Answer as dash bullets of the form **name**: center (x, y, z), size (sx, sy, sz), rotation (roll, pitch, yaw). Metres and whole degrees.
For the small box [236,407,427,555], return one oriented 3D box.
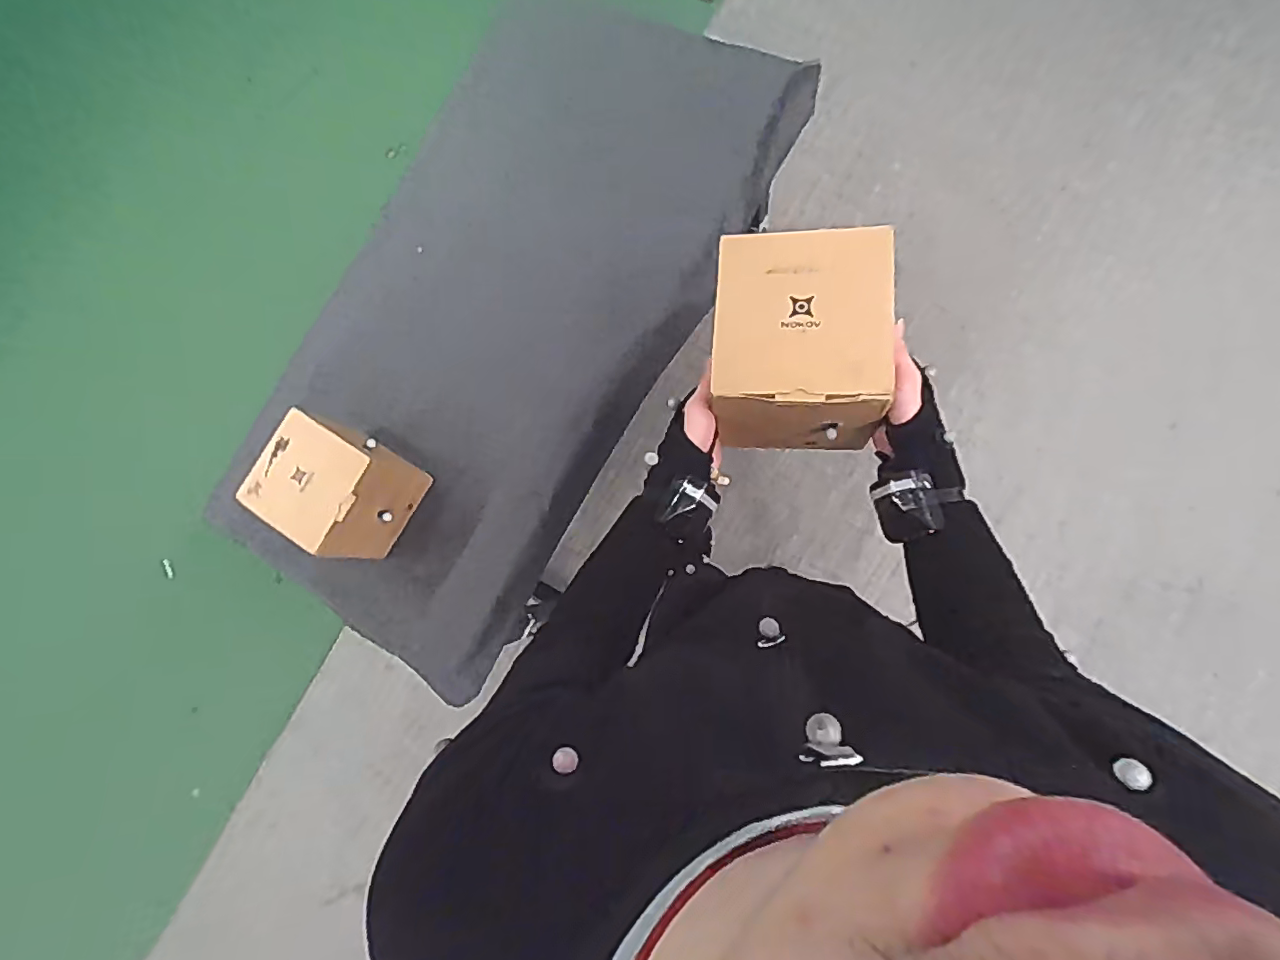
- **small box**: center (-0.489, 0.008, 0.886), size (0.179, 0.176, 0.168), rotation (30, 86, 12)

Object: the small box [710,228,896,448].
- **small box**: center (0.170, -0.141, 0.587), size (0.168, 0.176, 0.179), rotation (3, 76, 11)
